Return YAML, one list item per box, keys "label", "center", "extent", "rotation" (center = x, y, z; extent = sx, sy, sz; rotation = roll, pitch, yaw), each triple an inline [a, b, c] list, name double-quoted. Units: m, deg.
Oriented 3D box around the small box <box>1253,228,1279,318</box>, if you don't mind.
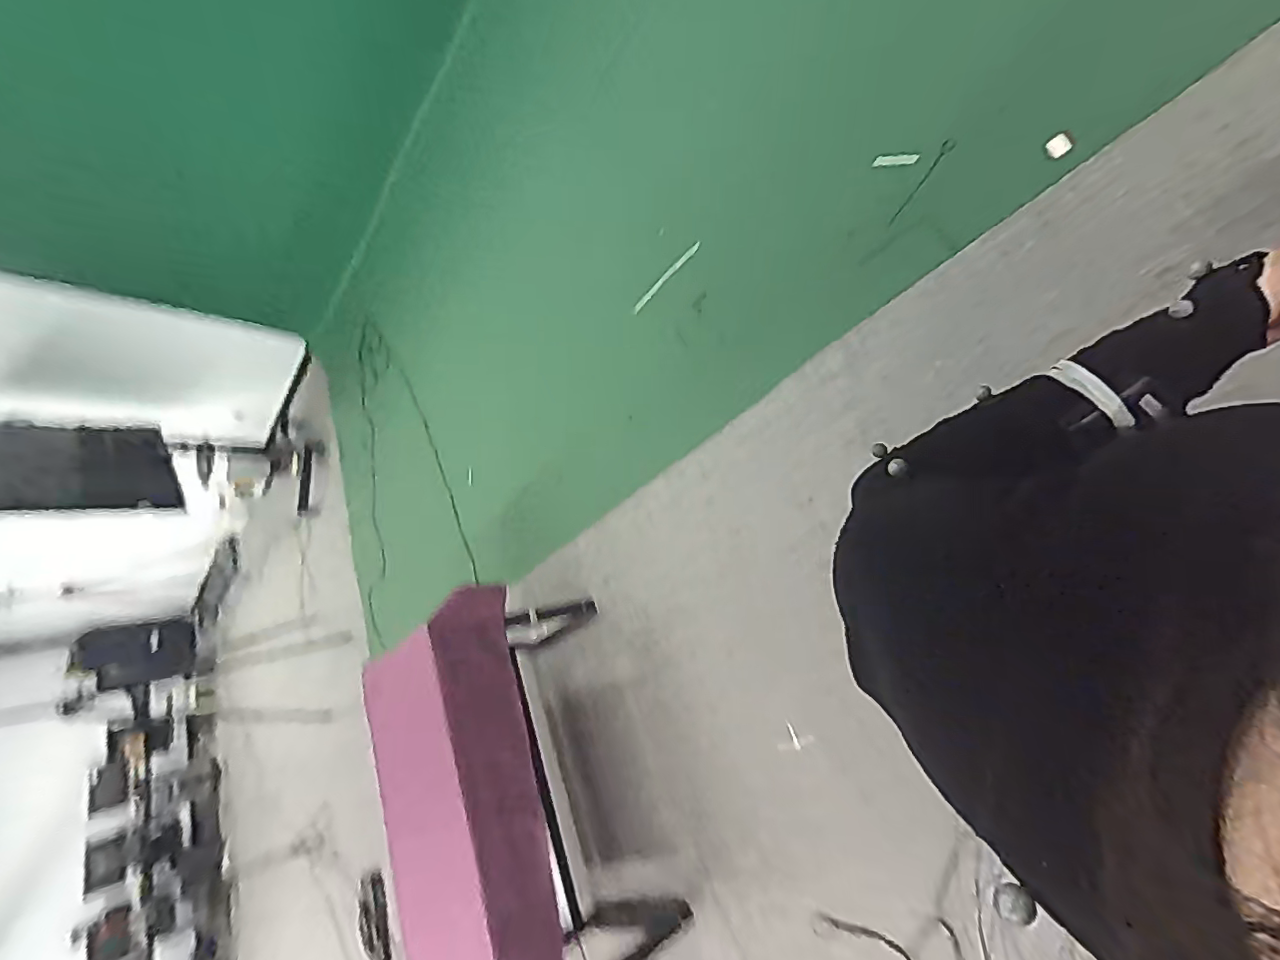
- label: "small box"
  center: [0.564, -0.191, 0.359]
  extent: [0.168, 0.176, 0.179]
  rotation: [24, 114, 39]
